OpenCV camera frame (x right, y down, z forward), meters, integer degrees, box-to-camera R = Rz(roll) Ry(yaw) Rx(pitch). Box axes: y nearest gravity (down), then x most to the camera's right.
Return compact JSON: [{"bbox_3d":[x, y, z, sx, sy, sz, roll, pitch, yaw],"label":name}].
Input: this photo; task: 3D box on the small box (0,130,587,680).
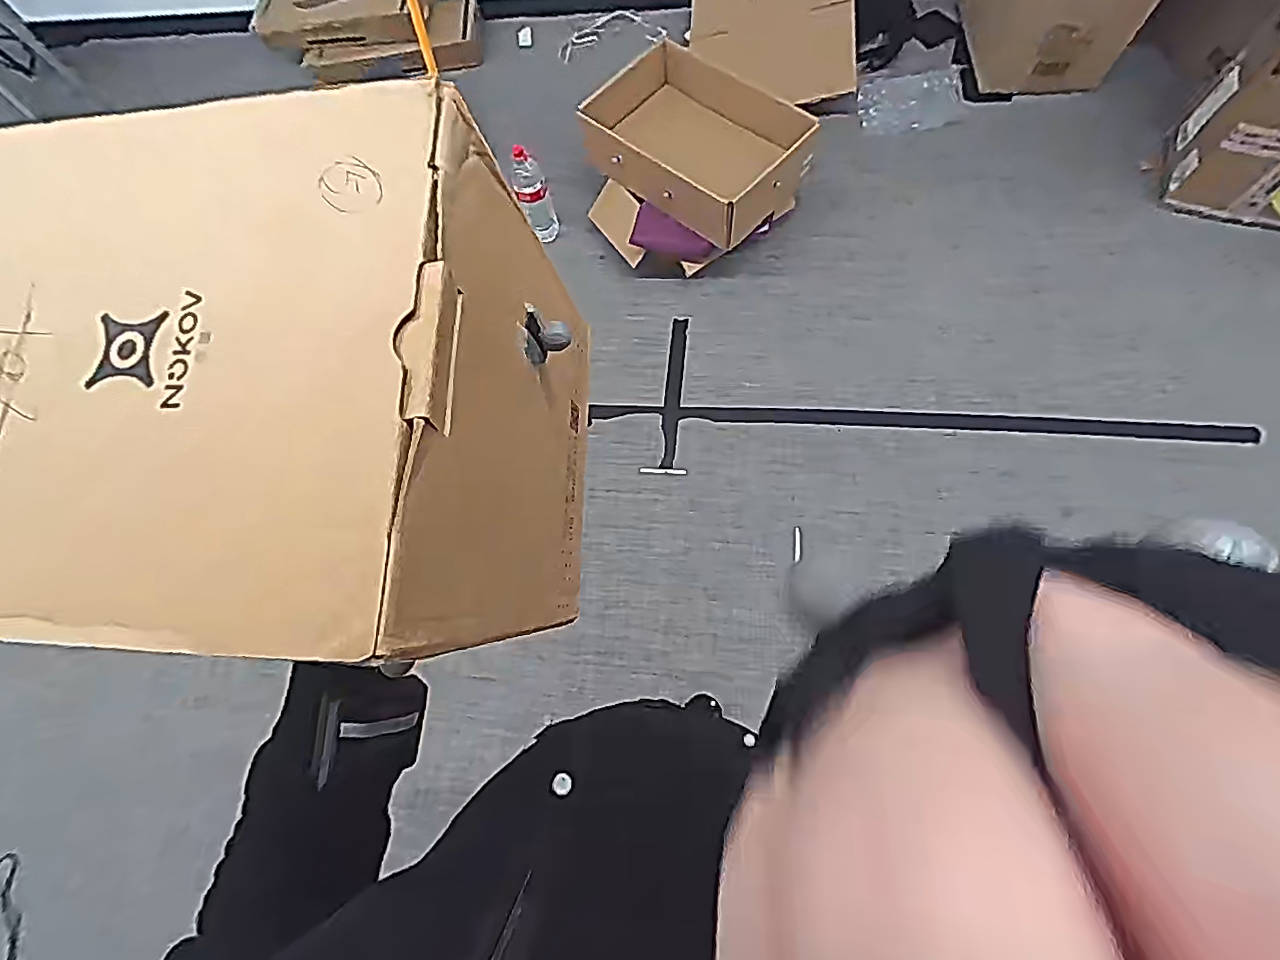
[{"bbox_3d":[-0.128,-0.013,0.245,0.179,0.176,0.168,0,78,10],"label":"small box"}]
